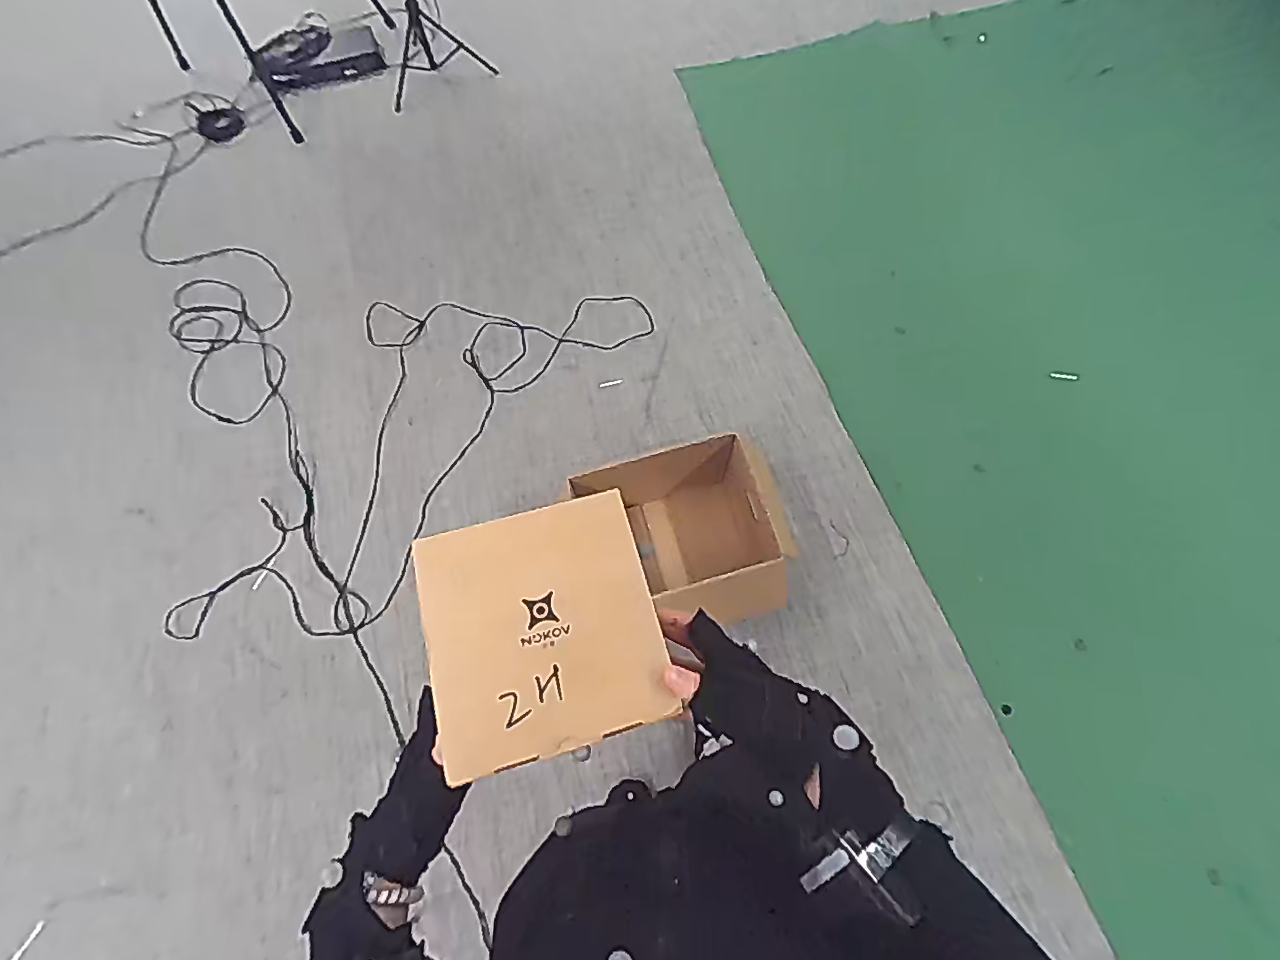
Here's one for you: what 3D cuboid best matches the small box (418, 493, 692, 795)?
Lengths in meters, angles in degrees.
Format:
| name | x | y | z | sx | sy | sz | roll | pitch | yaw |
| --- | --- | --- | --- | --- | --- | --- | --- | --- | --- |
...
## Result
| name | x | y | z | sx | sy | sz | roll | pitch | yaw |
| --- | --- | --- | --- | --- | --- | --- | --- | --- | --- |
| small box | -0.069 | 0.135 | 0.455 | 0.168 | 0.176 | 0.179 | -14 | 70 | -8 |
